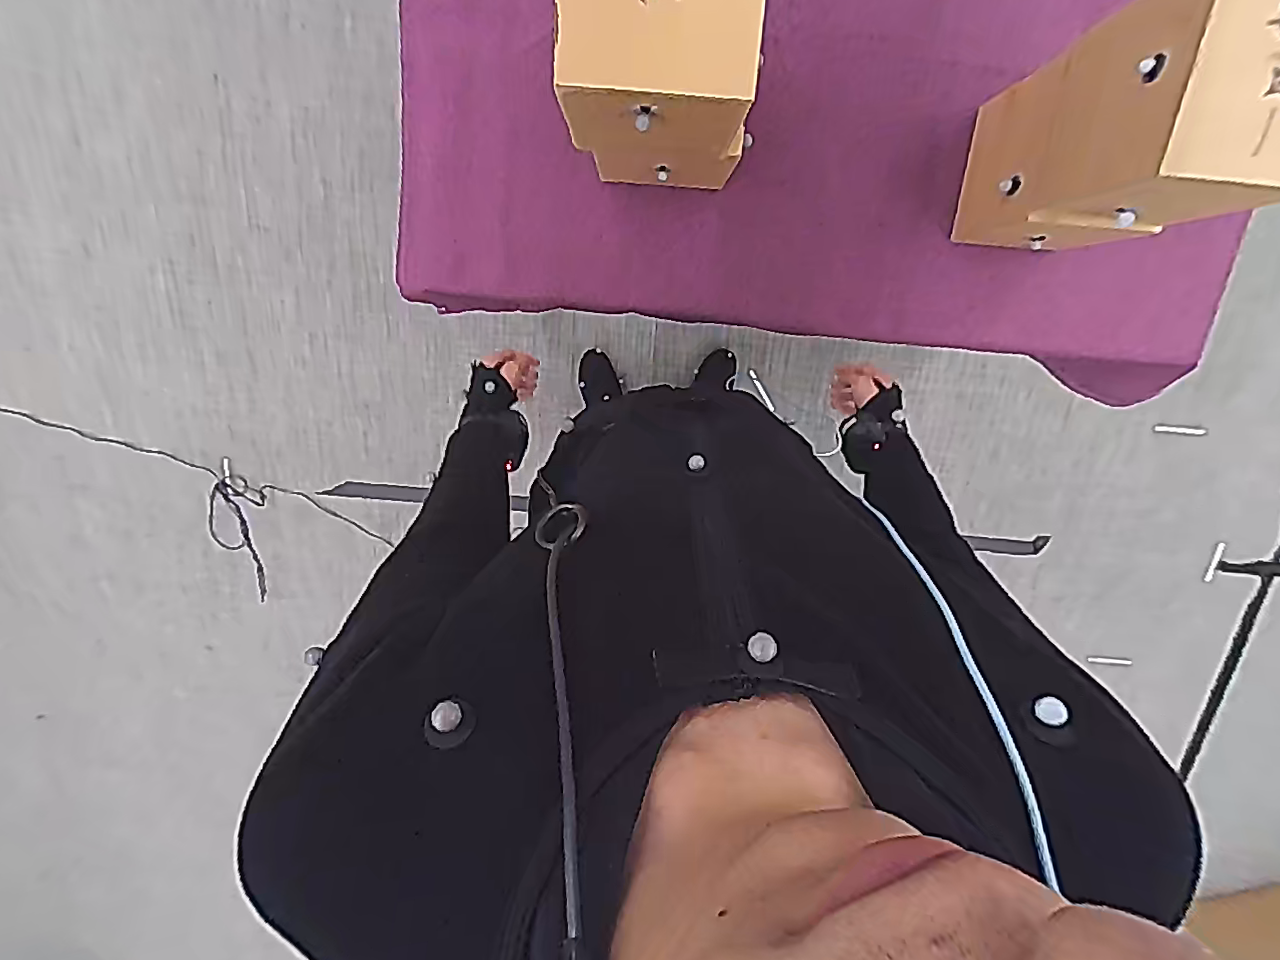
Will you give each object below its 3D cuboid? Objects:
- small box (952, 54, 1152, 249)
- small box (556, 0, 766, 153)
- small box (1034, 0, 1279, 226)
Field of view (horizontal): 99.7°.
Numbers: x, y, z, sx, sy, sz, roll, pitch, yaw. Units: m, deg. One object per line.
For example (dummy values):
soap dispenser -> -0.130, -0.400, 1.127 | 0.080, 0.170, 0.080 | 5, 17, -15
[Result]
small box -> 0.544, -0.409, 0.706 | 0.168, 0.176, 0.179 | 5, 106, -2
small box -> 0.020, -0.434, 0.523 | 0.179, 0.176, 0.168 | 4, 107, 0
small box -> 0.548, -0.372, 0.545 | 0.168, 0.176, 0.179 | 5, 107, -2
